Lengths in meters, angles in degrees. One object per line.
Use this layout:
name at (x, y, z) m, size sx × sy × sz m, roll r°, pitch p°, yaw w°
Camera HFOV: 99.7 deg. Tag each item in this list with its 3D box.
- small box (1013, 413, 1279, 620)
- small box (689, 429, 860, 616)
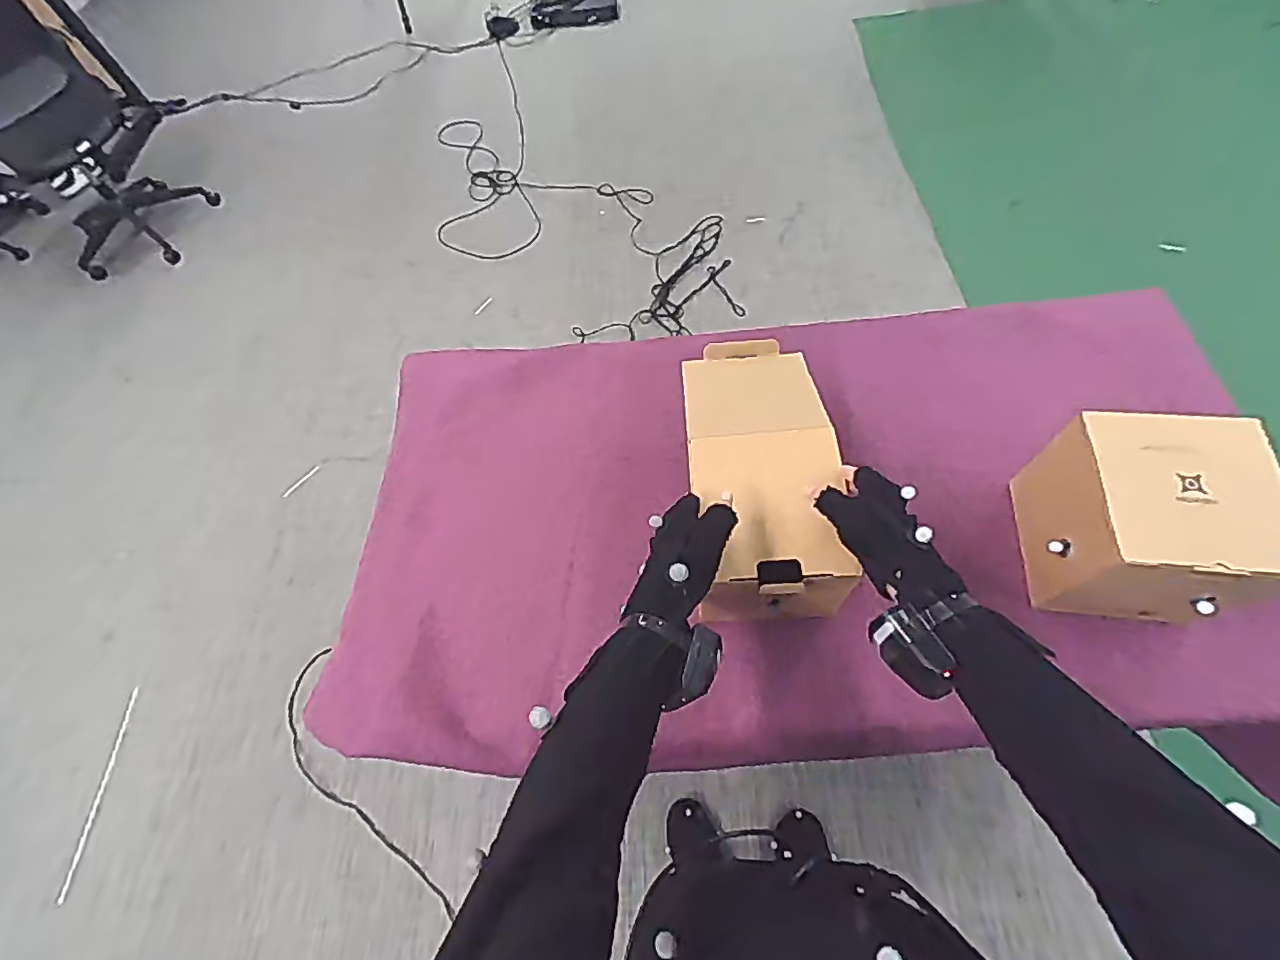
small box at (0.552, 0.047, 0.601) m, size 0.168 × 0.176 × 0.179 m, roll 4°, pitch 63°, yaw 10°
small box at (0.148, 0.061, 0.649) m, size 0.168 × 0.176 × 0.179 m, roll -4°, pitch 62°, yaw 5°
